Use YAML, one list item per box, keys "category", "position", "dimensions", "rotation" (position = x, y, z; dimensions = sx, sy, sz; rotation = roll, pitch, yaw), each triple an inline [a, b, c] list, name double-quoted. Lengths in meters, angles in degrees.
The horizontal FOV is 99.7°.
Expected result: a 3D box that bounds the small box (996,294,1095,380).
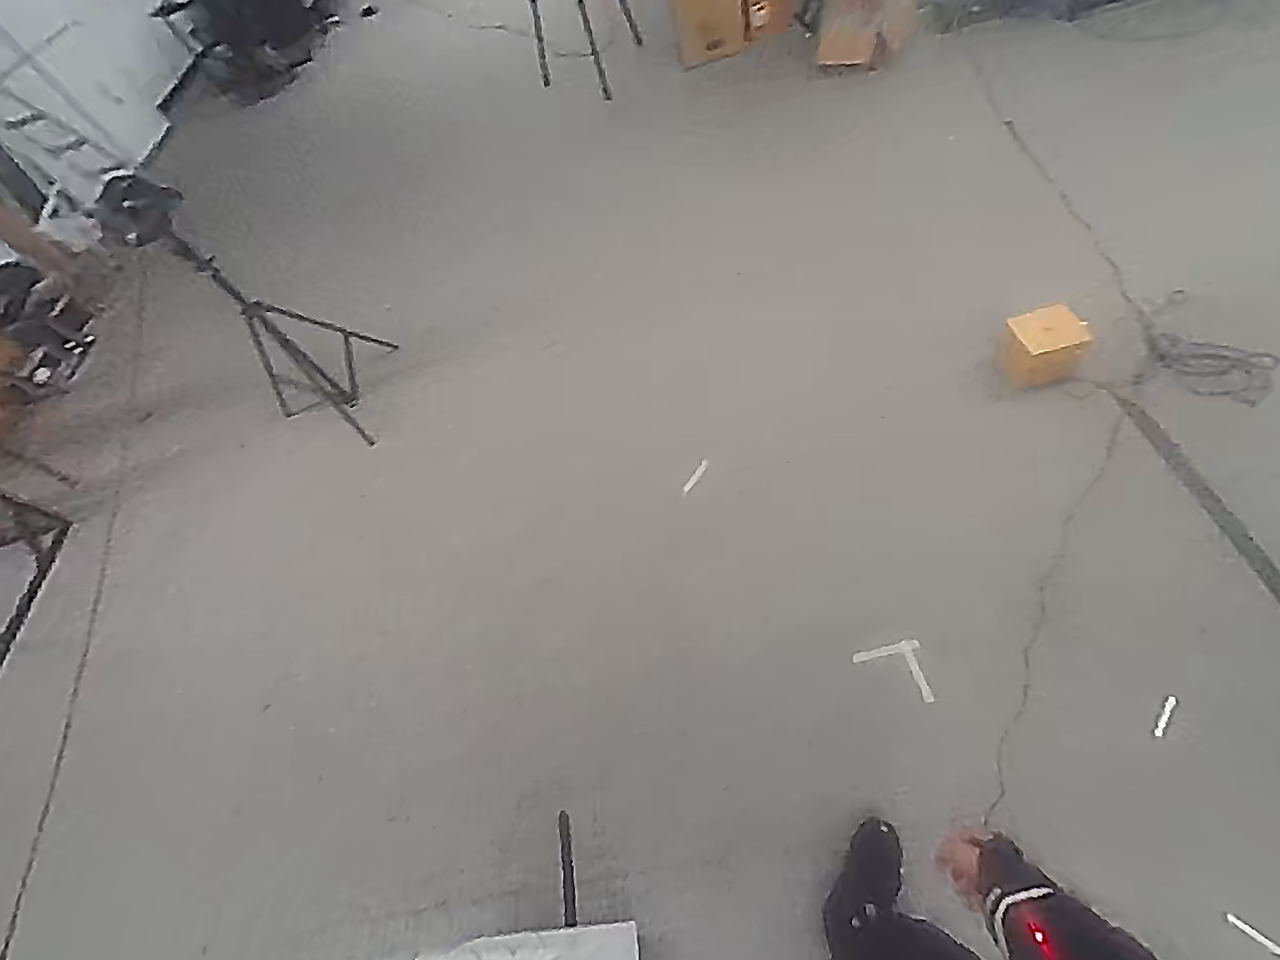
- category: "small box"
  position: [1.242, -0.438, 1.677]
  dimensions: [0.179, 0.176, 0.168]
  rotation: [-16, 56, 7]
